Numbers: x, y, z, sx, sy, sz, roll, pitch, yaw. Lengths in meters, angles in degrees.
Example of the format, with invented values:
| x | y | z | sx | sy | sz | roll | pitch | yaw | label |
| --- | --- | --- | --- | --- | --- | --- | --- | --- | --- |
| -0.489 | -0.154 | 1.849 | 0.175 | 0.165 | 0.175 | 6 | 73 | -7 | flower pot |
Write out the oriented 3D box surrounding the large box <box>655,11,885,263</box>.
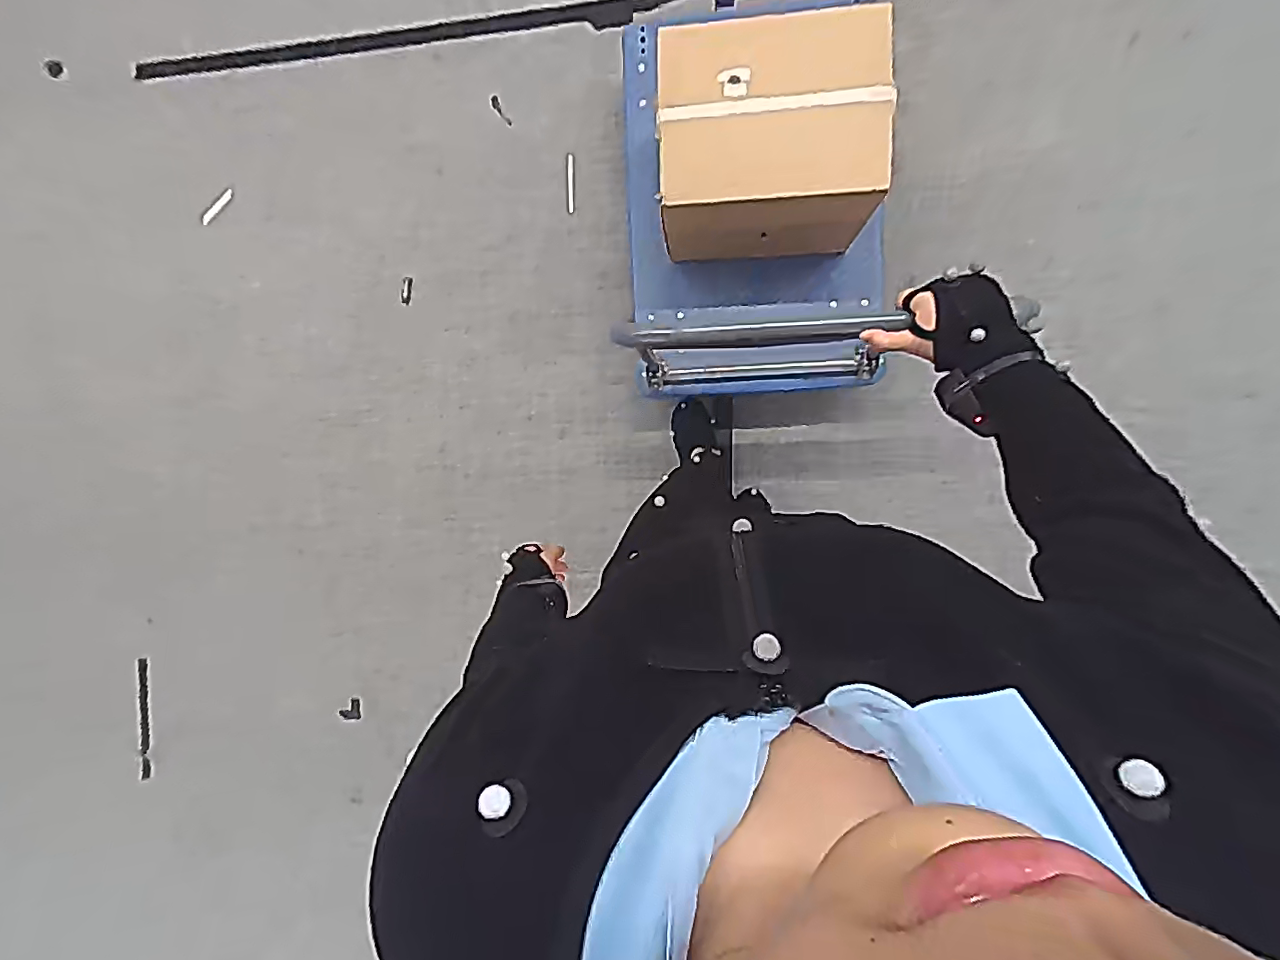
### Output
| x | y | z | sx | sy | sz | roll | pitch | yaw | label |
| --- | --- | --- | --- | --- | --- | --- | --- | --- | --- |
| 0.253 | -0.668 | 1.122 | 0.408 | 0.320 | 0.320 | -2 | 92 | 8 | large box |
